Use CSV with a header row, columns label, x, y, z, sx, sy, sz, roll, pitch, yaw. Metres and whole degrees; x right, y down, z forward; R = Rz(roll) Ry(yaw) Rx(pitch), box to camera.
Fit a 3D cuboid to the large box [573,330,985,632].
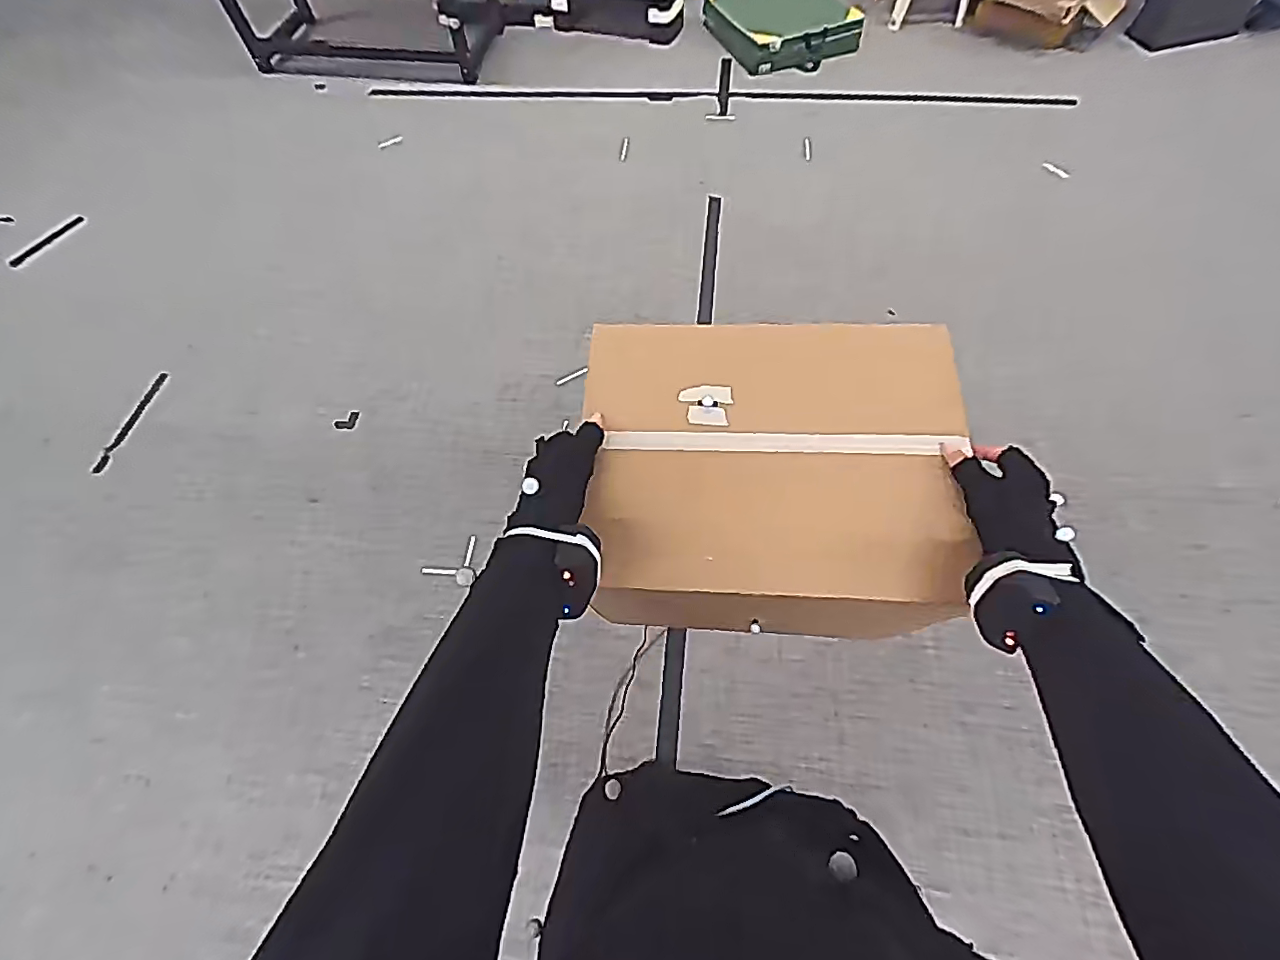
label,x,y,z,sx,sy,sz,roll,pitch,yaw
large box,0.154,0.023,0.720,0.408,0.320,0.320,1,67,8
